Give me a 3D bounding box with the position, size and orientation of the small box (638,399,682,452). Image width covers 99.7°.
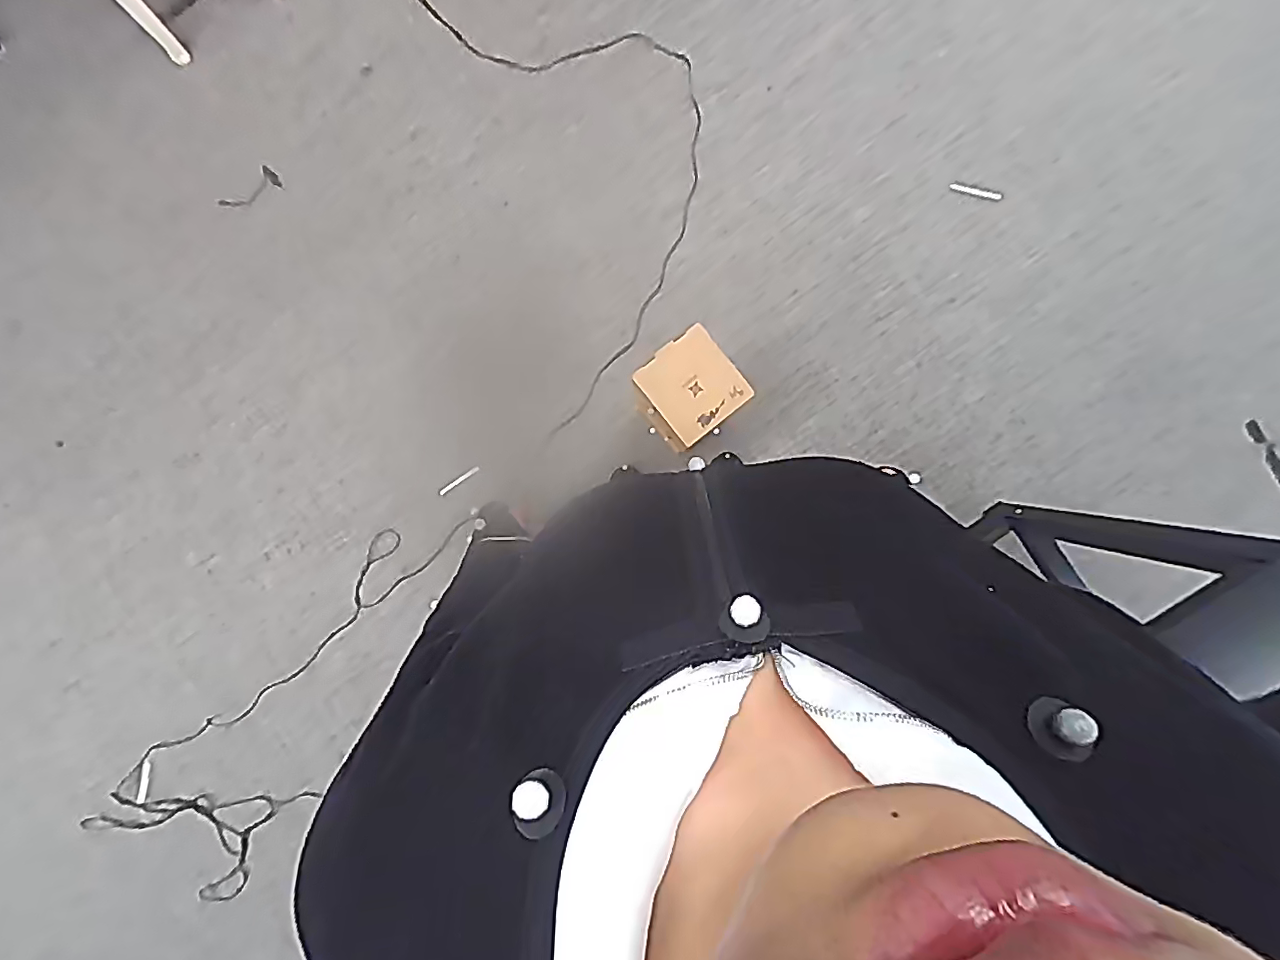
[{"bbox_3d":[0.111,-0.190,1.416,0.179,0.176,0.168,-38,90,4],"label":"small box"}]

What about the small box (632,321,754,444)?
[{"bbox_3d":[0.100,-0.184,1.090,0.168,0.176,0.179,-39,90,3],"label":"small box"}]
